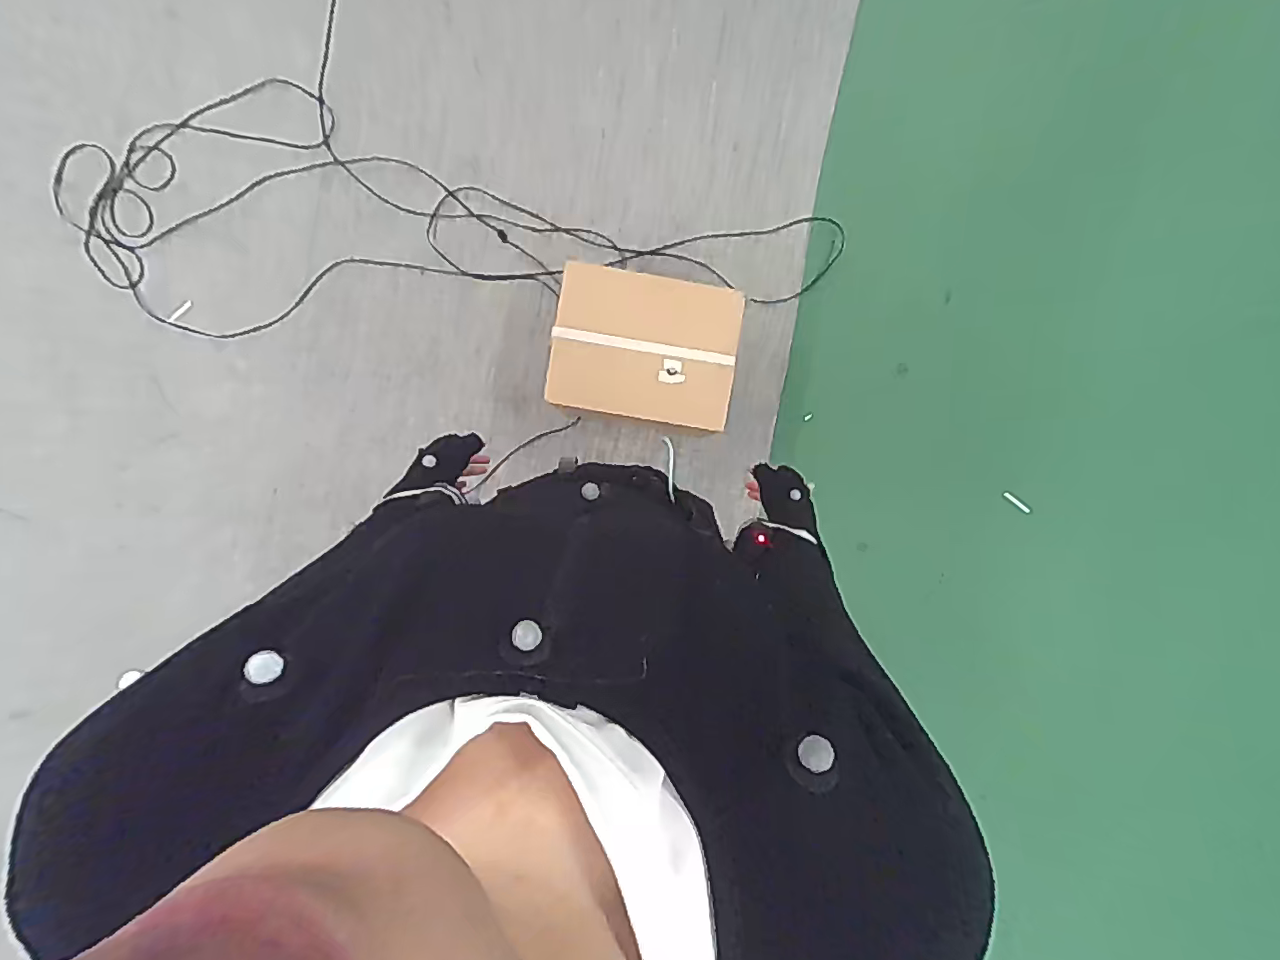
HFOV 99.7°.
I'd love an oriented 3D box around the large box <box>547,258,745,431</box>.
[{"bbox_3d":[0.006,-0.308,1.326,0.408,0.320,0.320,9,93,-2],"label":"large box"}]
